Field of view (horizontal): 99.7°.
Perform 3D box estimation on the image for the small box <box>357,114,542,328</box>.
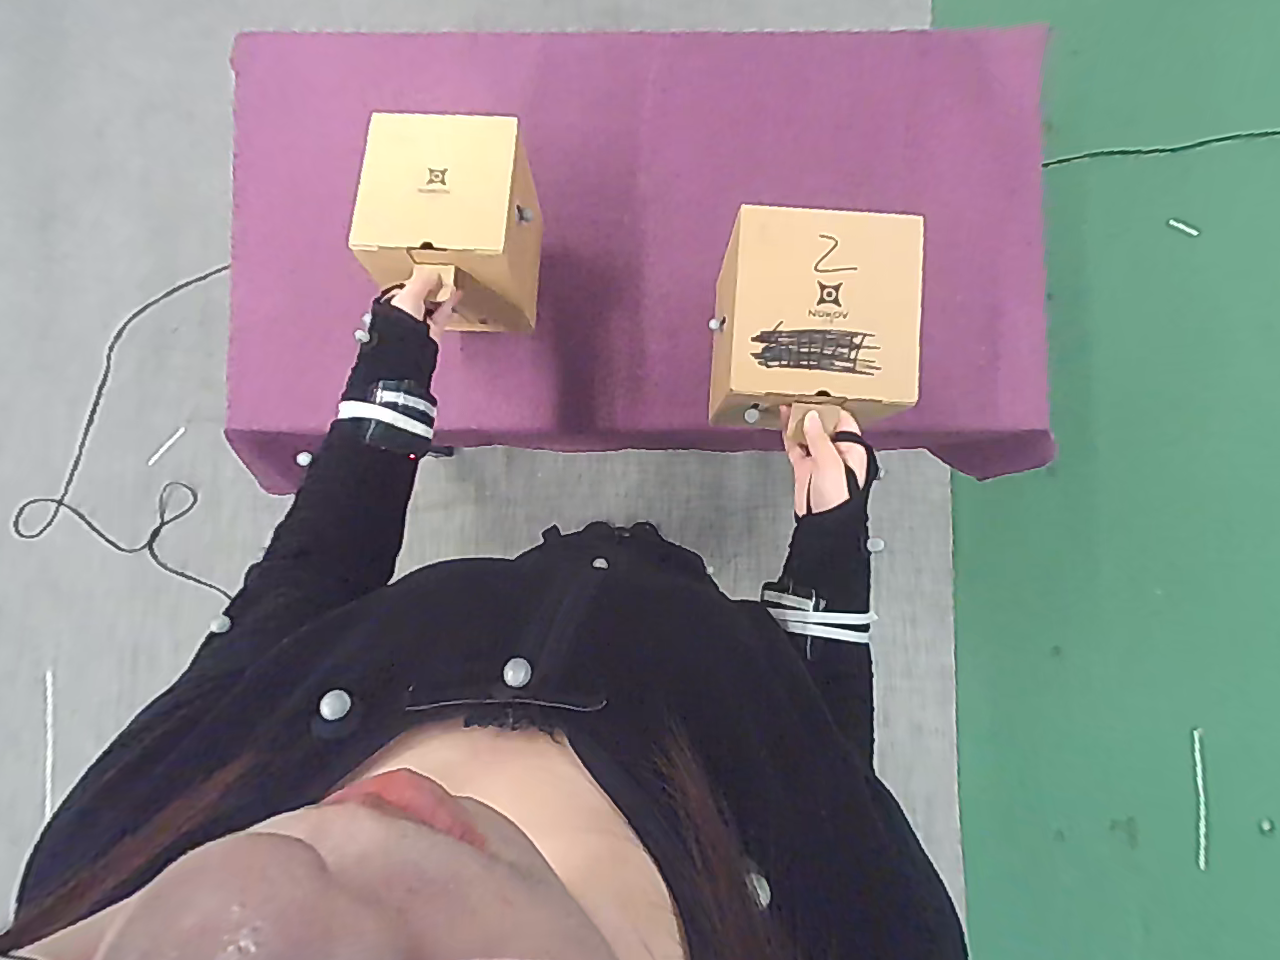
[{"bbox_3d":[-0.222,-0.314,0.679,0.168,0.176,0.179,2,77,0],"label":"small box"}]
